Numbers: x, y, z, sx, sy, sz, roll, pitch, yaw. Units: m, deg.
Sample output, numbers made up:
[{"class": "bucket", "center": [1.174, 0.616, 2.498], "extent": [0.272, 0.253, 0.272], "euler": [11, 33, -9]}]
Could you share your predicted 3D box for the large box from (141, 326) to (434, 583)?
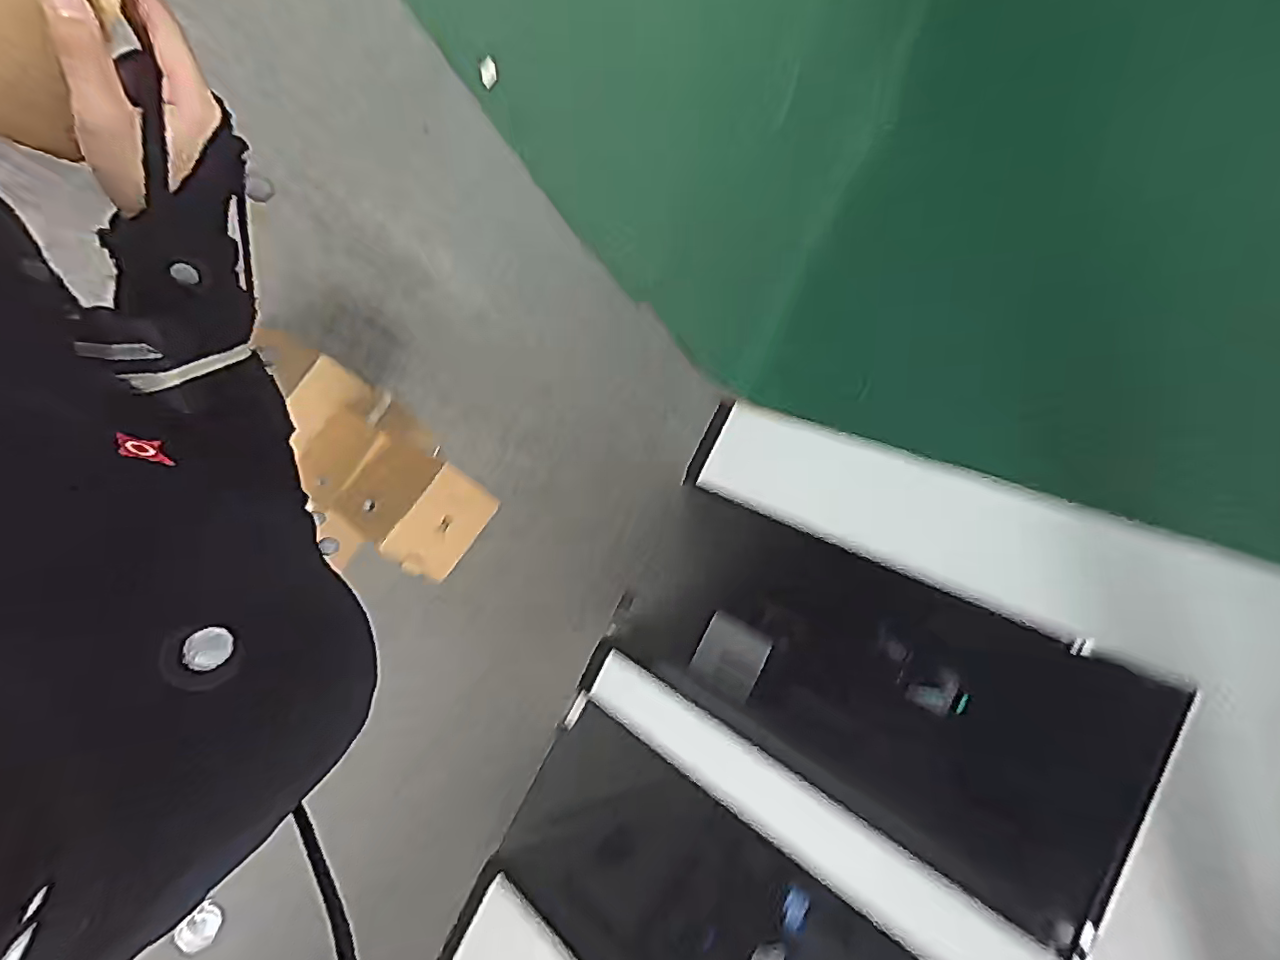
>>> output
[{"class": "large box", "center": [-0.744, -0.057, 1.171], "extent": [0.408, 0.320, 0.320], "euler": [-57, 145, -10]}]

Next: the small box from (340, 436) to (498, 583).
[{"class": "small box", "center": [-0.401, 0.050, 0.972], "extent": [0.179, 0.176, 0.168], "euler": [-56, 147, -15]}]
